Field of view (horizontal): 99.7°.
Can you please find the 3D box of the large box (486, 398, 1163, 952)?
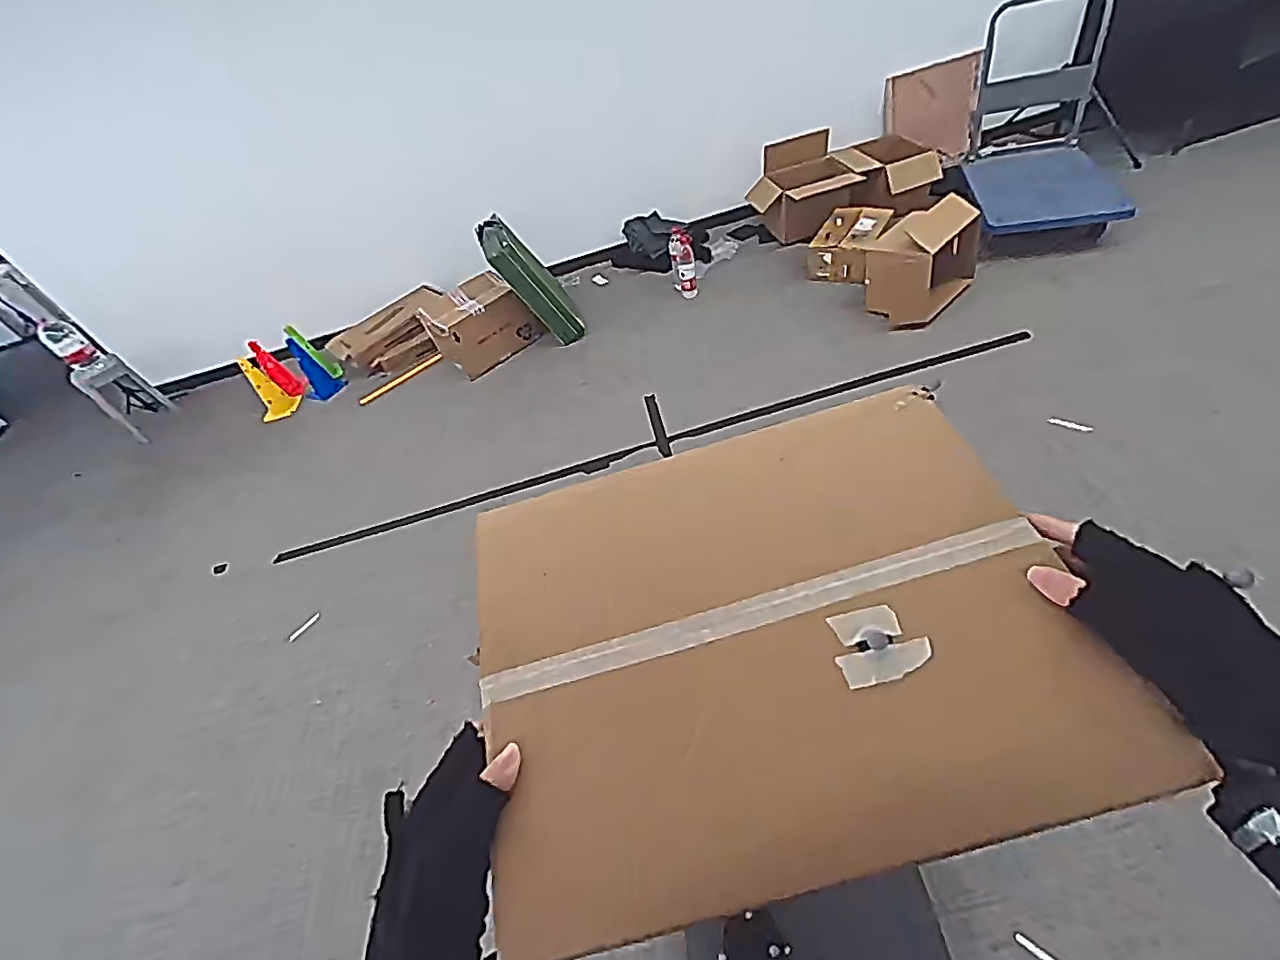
[{"bbox_3d":[0.108,0.185,0.520,0.408,0.320,0.320,-17,54,1],"label":"large box"}]
